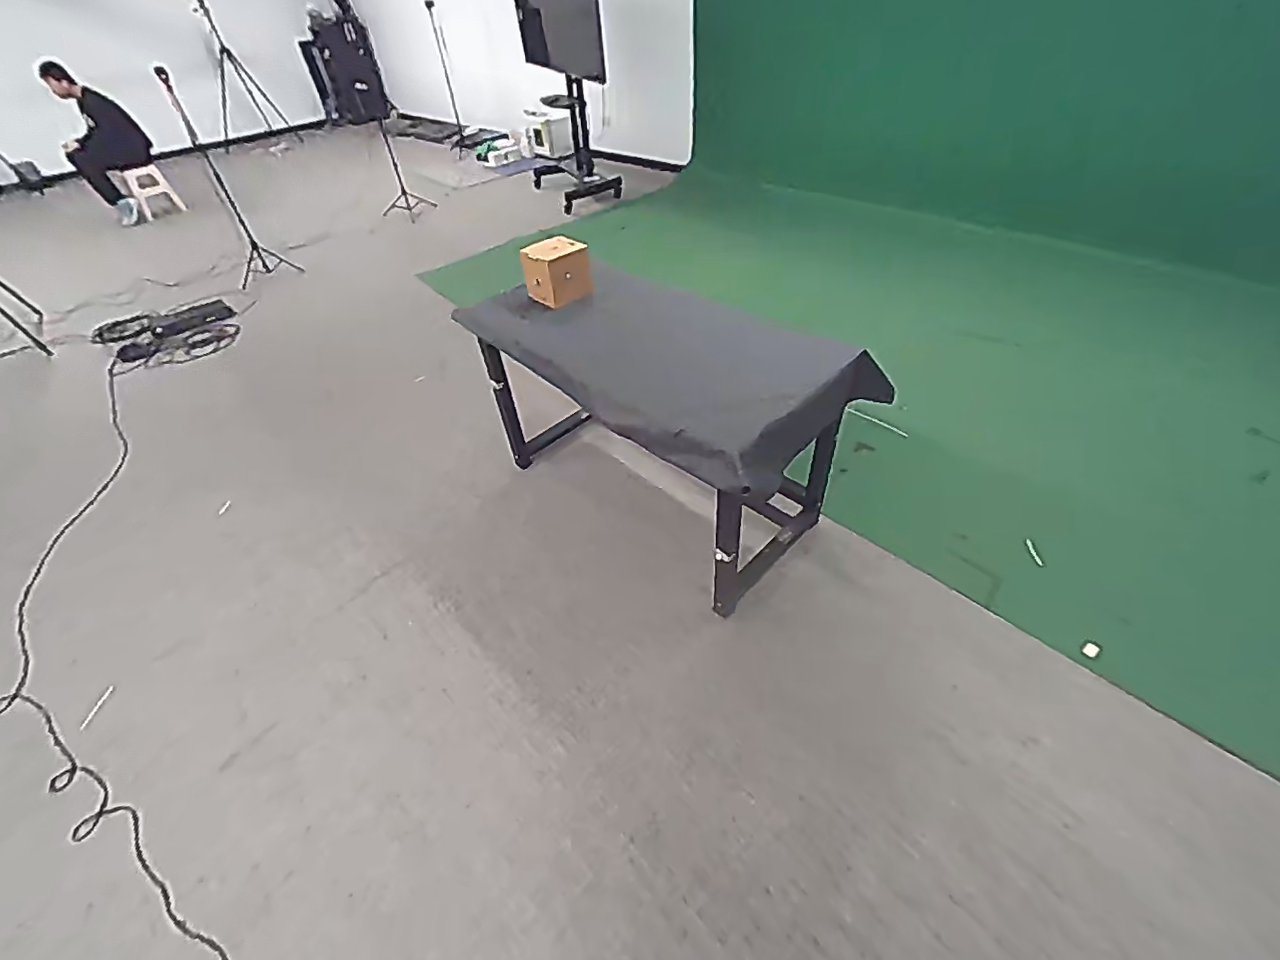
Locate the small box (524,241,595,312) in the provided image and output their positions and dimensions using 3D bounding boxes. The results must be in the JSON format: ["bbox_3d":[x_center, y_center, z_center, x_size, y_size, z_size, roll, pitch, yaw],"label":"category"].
[{"bbox_3d":[-0.279,-0.718,1.914,0.179,0.176,0.168,-35,51,-27],"label":"small box"}]
